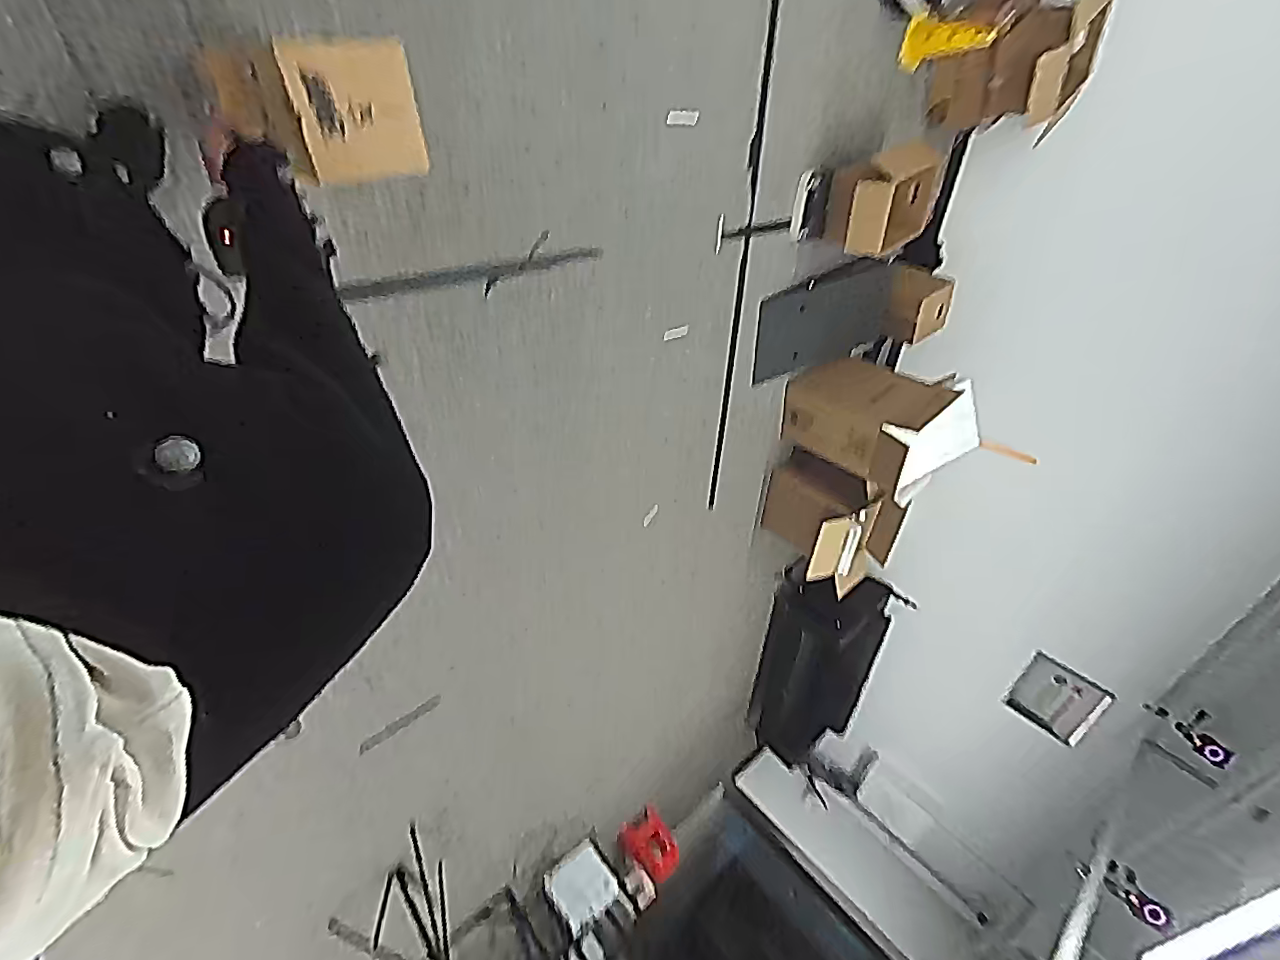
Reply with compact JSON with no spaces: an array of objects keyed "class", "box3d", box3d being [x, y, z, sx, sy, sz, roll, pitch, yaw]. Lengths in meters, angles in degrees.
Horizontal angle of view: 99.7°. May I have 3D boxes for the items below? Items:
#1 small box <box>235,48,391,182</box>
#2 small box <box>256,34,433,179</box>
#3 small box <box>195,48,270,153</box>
[{"class":"small box","box3d":[-0.556,-0.633,0.932,0.168,0.176,0.179,-29,136,-30]},{"class":"small box","box3d":[-0.450,-0.570,0.823,0.179,0.176,0.168,-30,137,-30]},{"class":"small box","box3d":[-0.774,-0.788,1.121,0.179,0.176,0.168,-27,135,-31]}]
